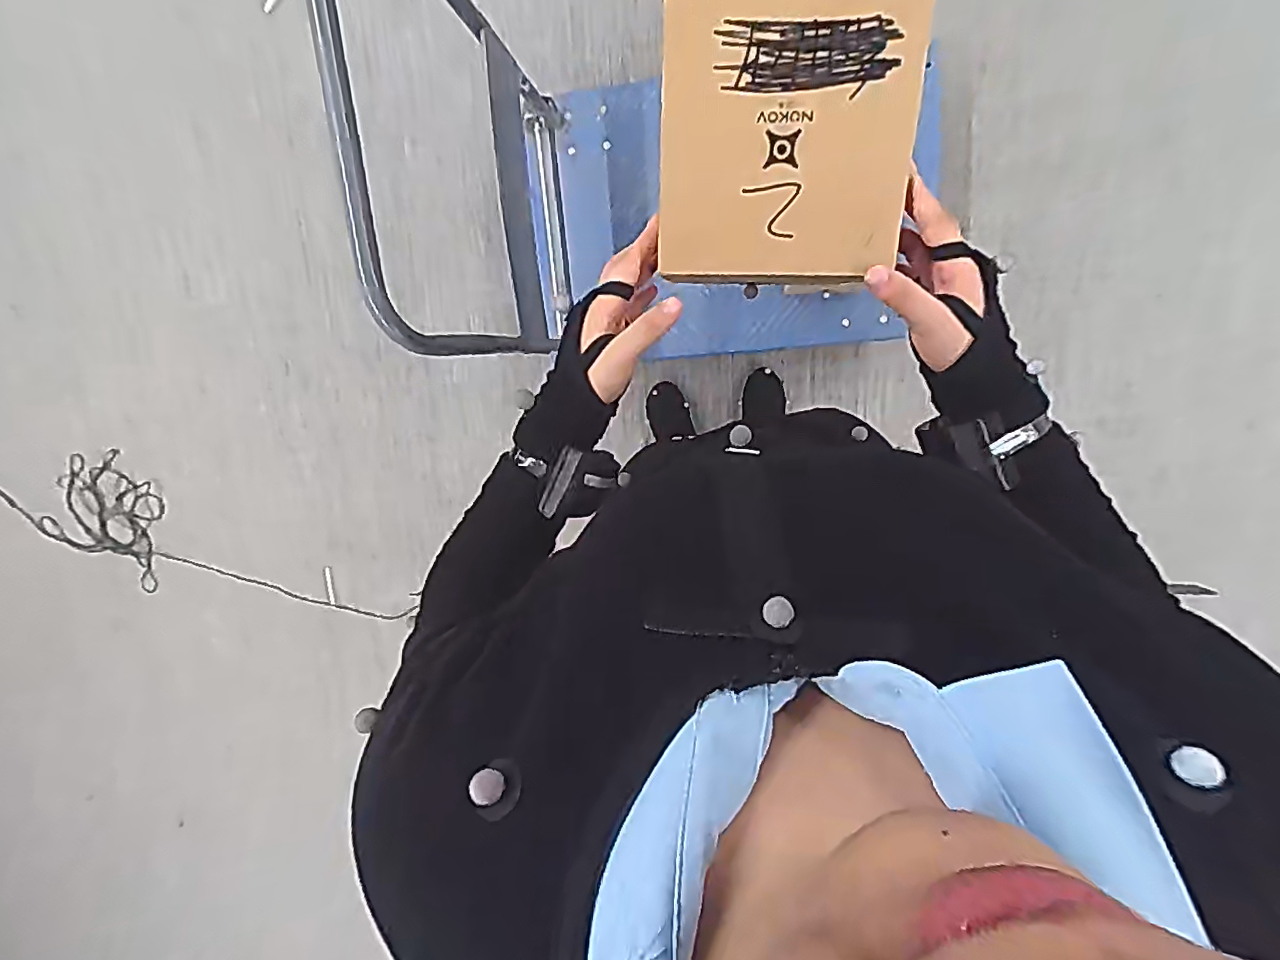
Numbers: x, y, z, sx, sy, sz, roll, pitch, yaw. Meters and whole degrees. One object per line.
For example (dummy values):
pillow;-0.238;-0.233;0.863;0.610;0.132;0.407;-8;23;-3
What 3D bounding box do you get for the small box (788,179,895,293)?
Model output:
small box;0.396;-0.482;1.090;0.168;0.176;0.179;1;102;7
